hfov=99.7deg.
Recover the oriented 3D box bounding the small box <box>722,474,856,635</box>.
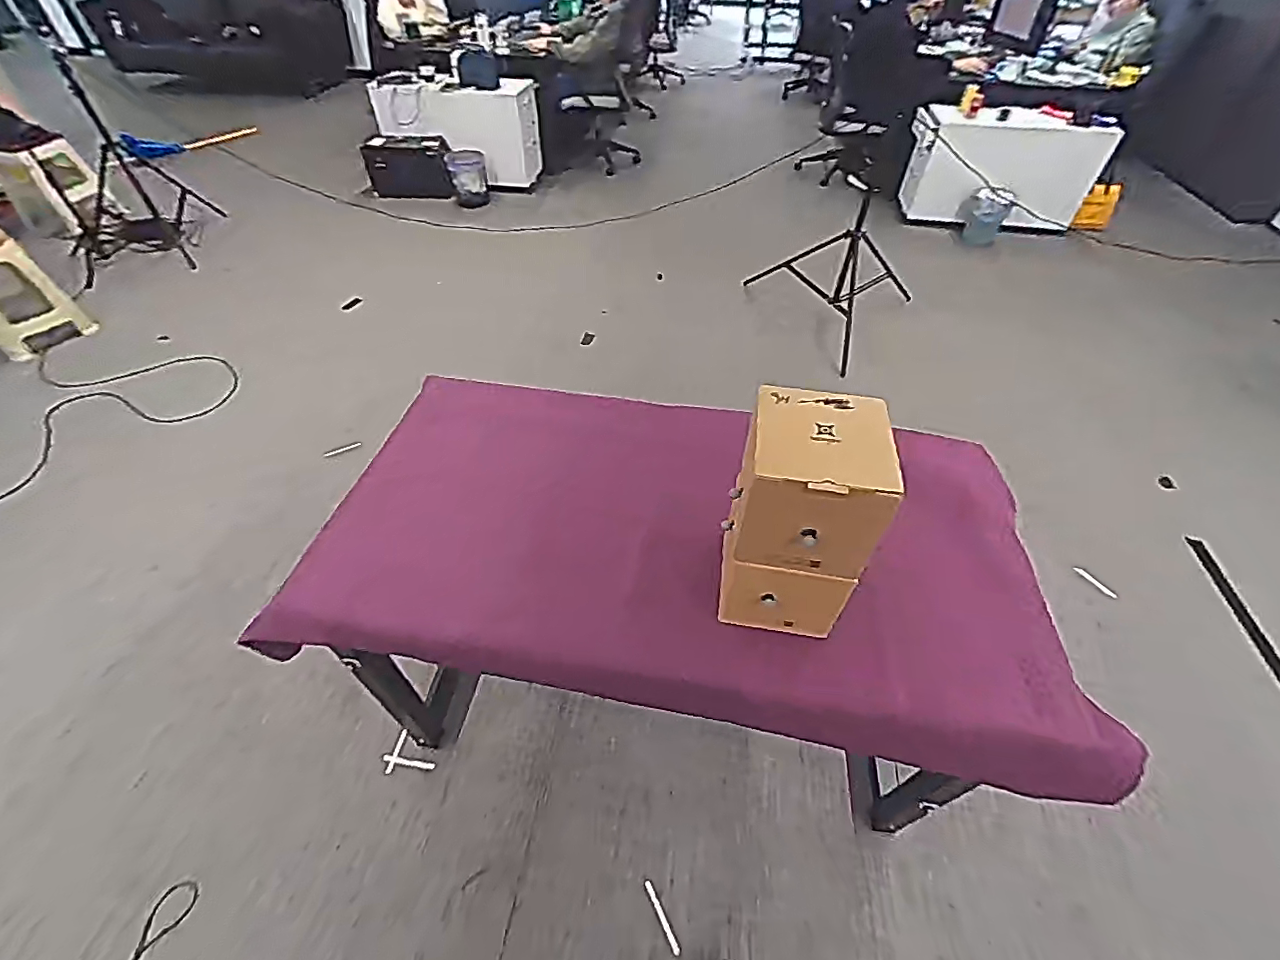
[{"bbox_3d":[0.220,0.117,0.833,0.168,0.176,0.179,7,47,6],"label":"small box"}]

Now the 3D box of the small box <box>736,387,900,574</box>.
[{"bbox_3d":[0.223,0.002,0.716,0.168,0.176,0.179,8,47,7],"label":"small box"}]
